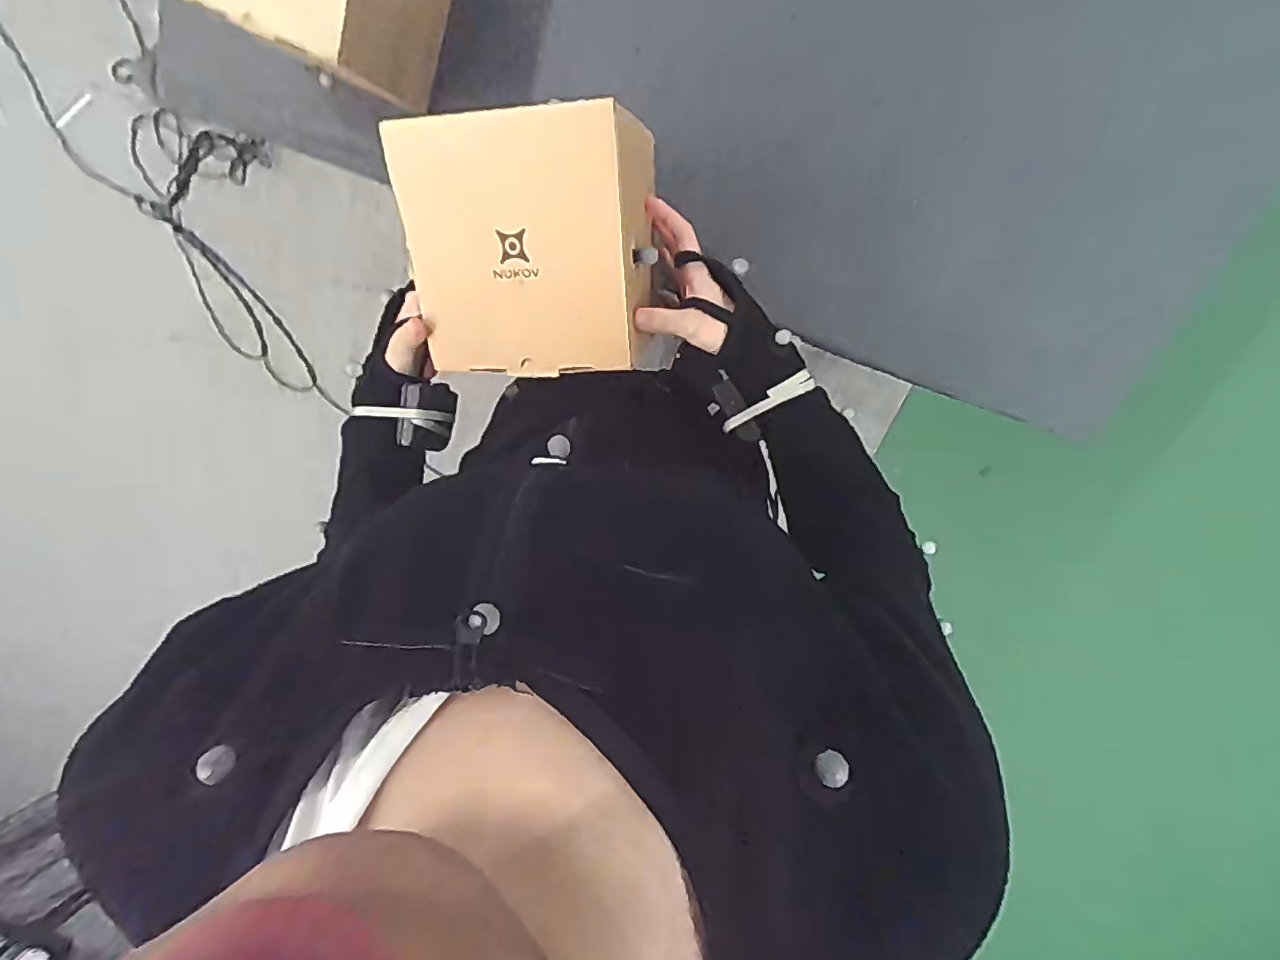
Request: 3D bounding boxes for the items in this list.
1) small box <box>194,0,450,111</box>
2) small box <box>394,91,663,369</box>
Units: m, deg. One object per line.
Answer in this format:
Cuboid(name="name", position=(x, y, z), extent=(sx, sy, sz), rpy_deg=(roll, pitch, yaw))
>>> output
Cuboid(name="small box", position=(-0.293, -0.487, 0.504), extent=(0.168, 0.176, 0.179), rpy_deg=(23, 110, -4))
Cuboid(name="small box", position=(-0.070, -0.200, 0.455), extent=(0.168, 0.176, 0.179), rpy_deg=(1, 117, 8))
